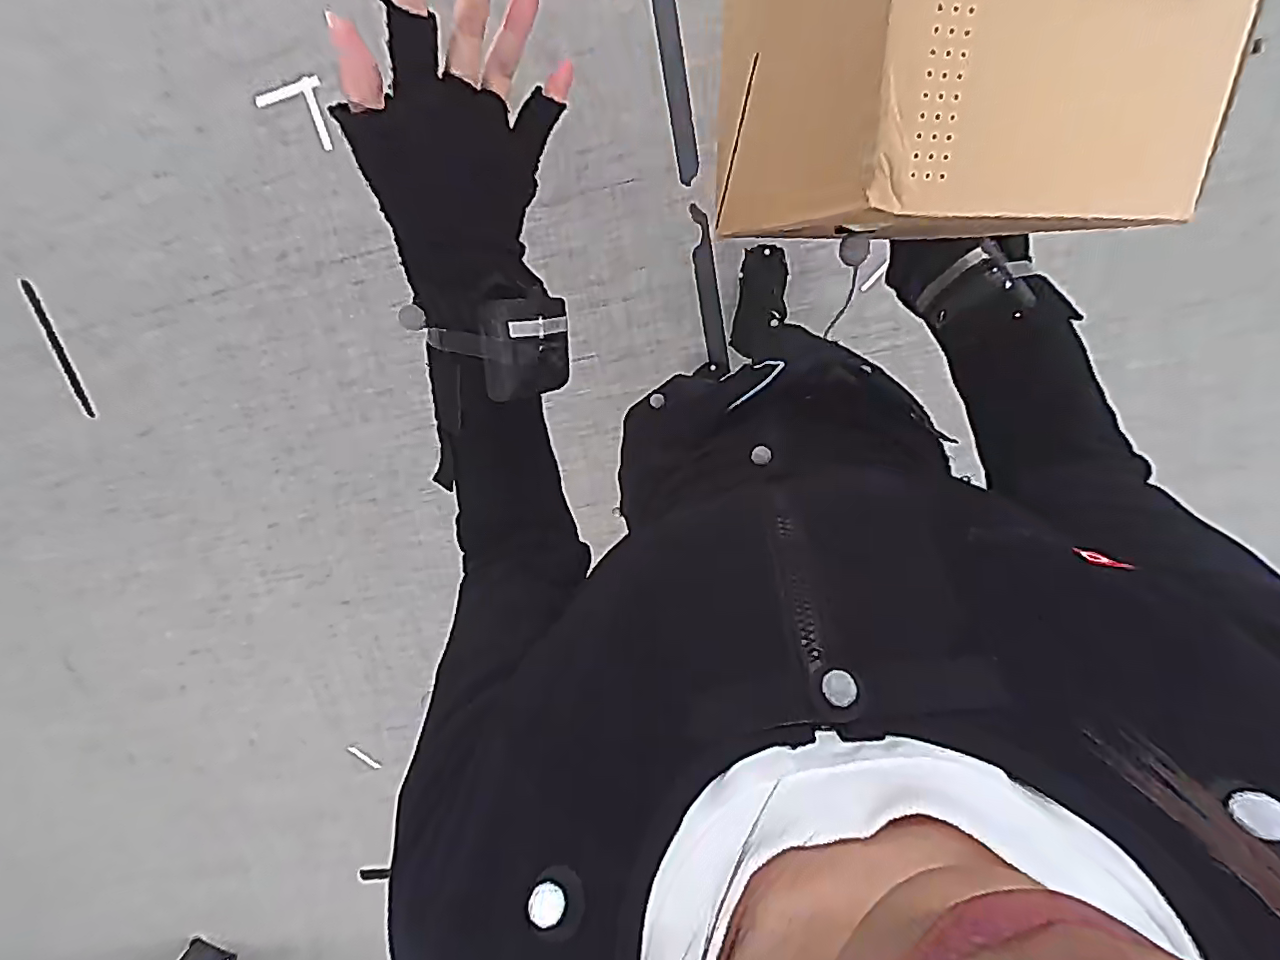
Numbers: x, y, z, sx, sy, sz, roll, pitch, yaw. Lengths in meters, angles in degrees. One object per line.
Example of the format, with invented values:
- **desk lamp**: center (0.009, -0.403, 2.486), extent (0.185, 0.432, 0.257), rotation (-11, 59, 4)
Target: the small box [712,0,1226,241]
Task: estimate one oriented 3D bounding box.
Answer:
- **small box**: center (0.142, -0.223, 0.277), extent (0.176, 0.168, 0.179), rotation (-4, 111, -11)
